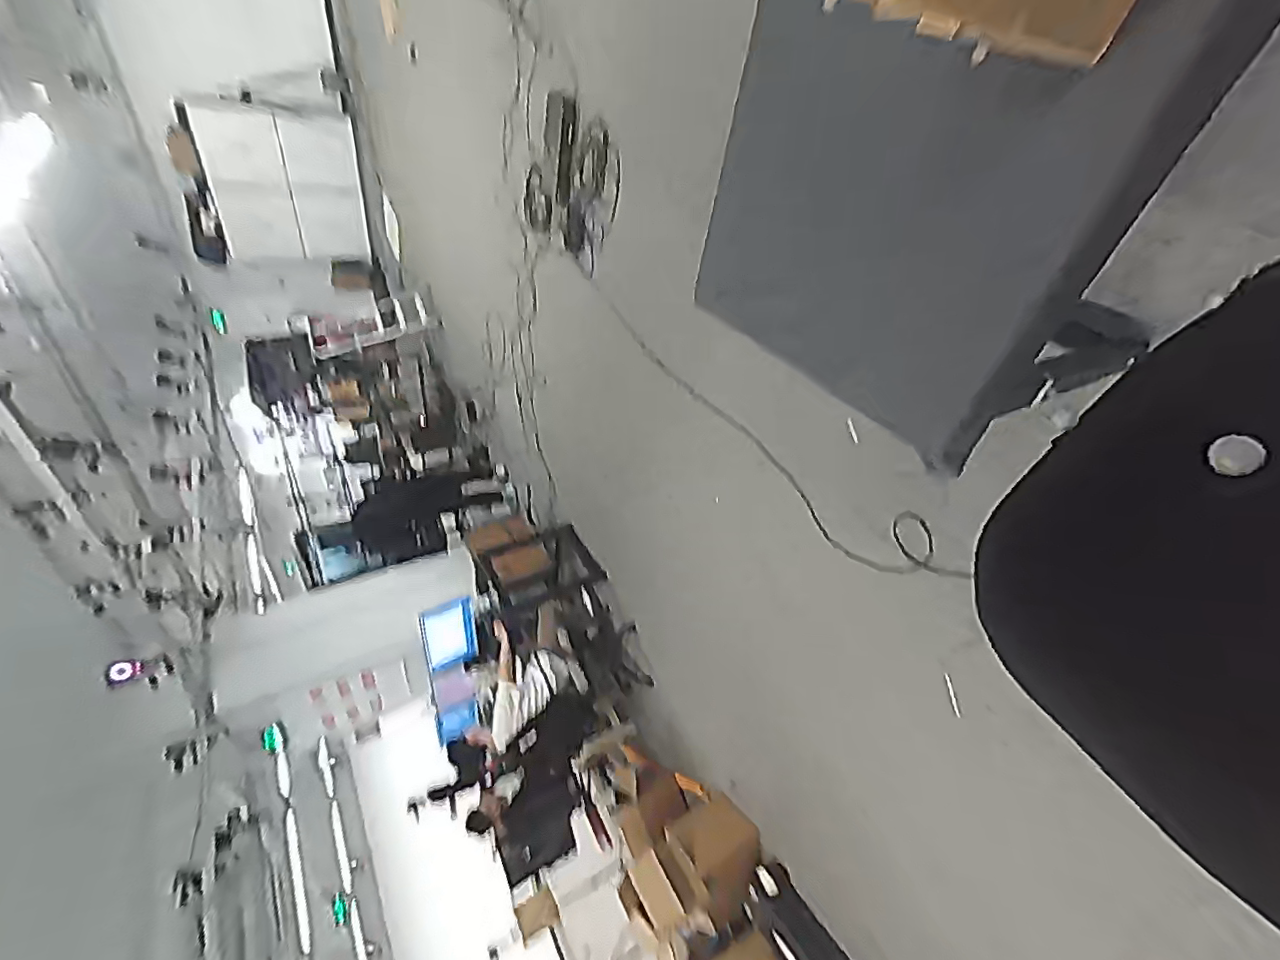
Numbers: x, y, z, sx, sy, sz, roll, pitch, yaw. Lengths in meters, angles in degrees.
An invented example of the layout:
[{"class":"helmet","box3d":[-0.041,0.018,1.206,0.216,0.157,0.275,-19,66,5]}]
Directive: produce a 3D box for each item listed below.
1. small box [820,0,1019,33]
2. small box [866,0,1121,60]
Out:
[{"class":"small box","box3d":[0.215,-0.479,0.426,0.179,0.176,0.168,53,145,36]},{"class":"small box","box3d":[0.357,-0.515,0.501,0.168,0.176,0.179,52,145,35]}]
